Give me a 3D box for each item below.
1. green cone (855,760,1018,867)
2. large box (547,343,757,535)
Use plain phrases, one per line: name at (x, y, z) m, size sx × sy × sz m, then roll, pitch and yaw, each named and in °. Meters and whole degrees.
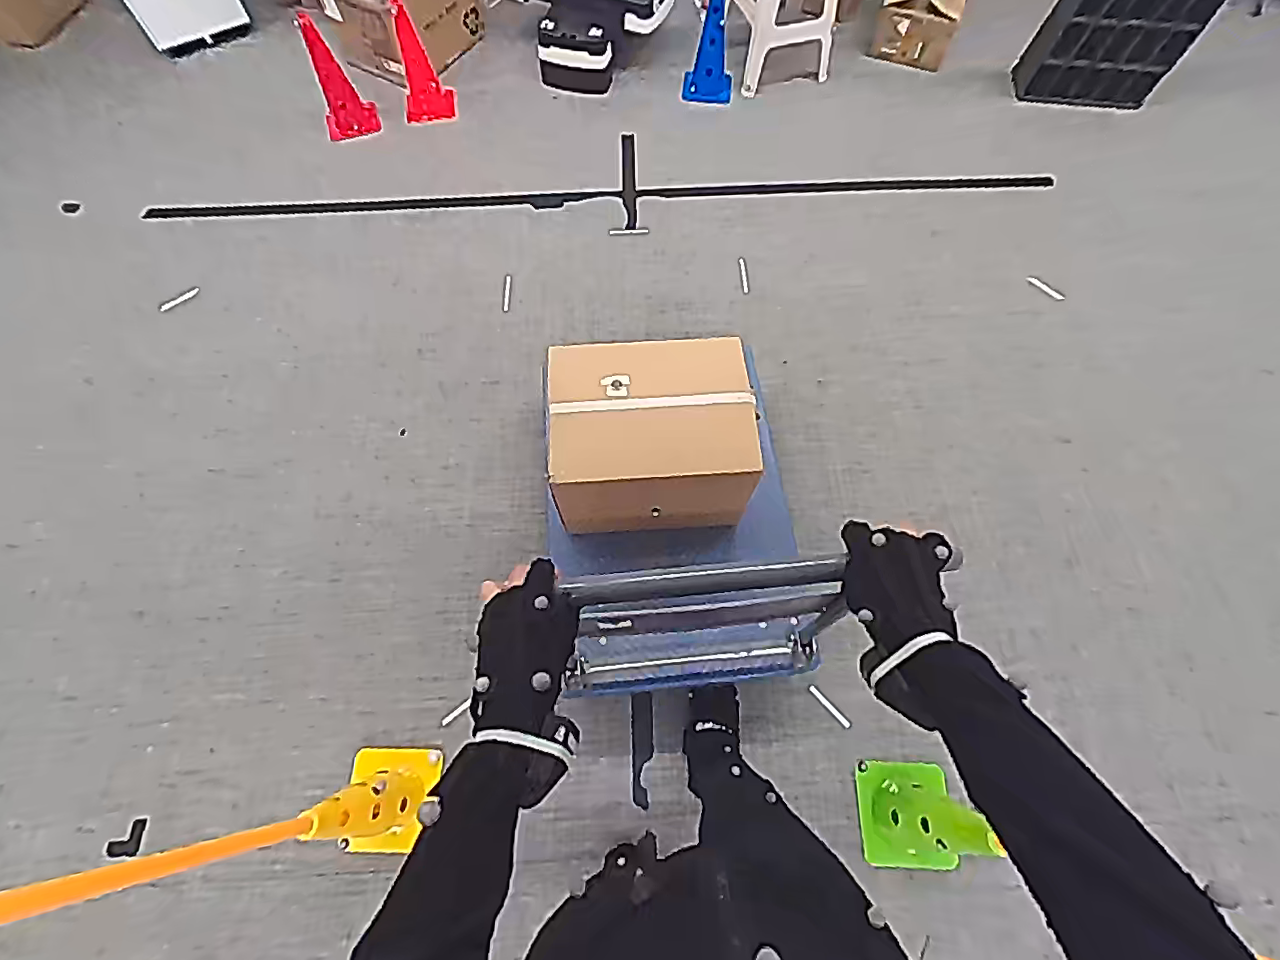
green cone at (0.588, 0.663, 1.040) m, size 0.202 × 0.368 × 0.200 m, roll 2°, pitch 66°, yaw 0°
large box at (0.018, -0.077, 1.219) m, size 0.408 × 0.320 × 0.320 m, roll -4°, pitch 66°, yaw -1°
